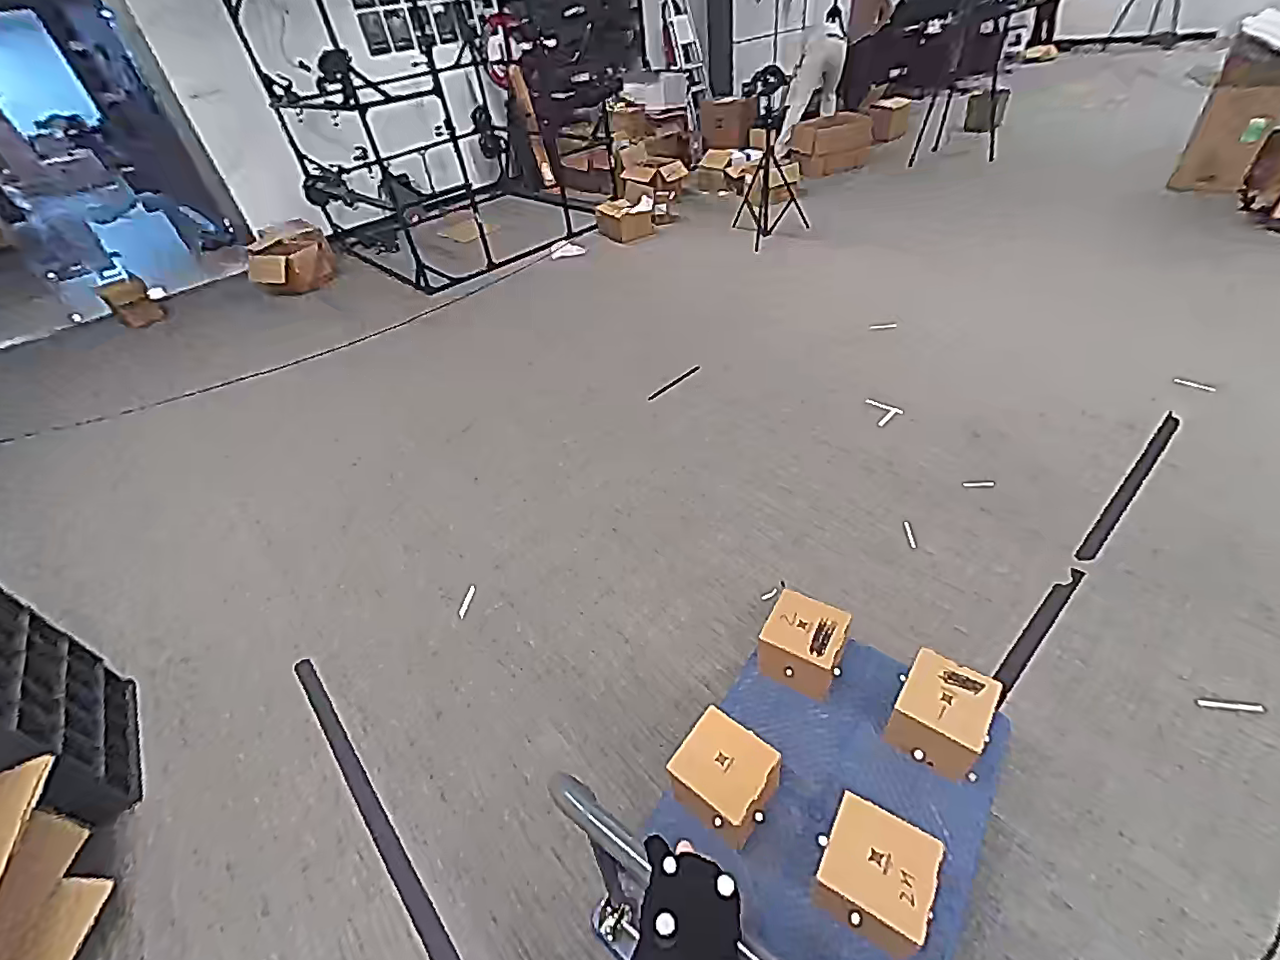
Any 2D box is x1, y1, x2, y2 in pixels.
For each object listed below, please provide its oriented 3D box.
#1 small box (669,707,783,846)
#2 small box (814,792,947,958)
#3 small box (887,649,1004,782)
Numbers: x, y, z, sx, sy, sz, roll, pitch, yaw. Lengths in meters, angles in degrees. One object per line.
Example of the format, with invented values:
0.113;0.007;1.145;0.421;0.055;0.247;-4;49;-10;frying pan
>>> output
0.182;0.632;1.149;0.179;0.176;0.168;26;51;32;small box
0.432;0.726;0.992;0.179;0.176;0.168;19;48;29;small box
0.662;0.516;1.187;0.168;0.176;0.179;23;52;32;small box
